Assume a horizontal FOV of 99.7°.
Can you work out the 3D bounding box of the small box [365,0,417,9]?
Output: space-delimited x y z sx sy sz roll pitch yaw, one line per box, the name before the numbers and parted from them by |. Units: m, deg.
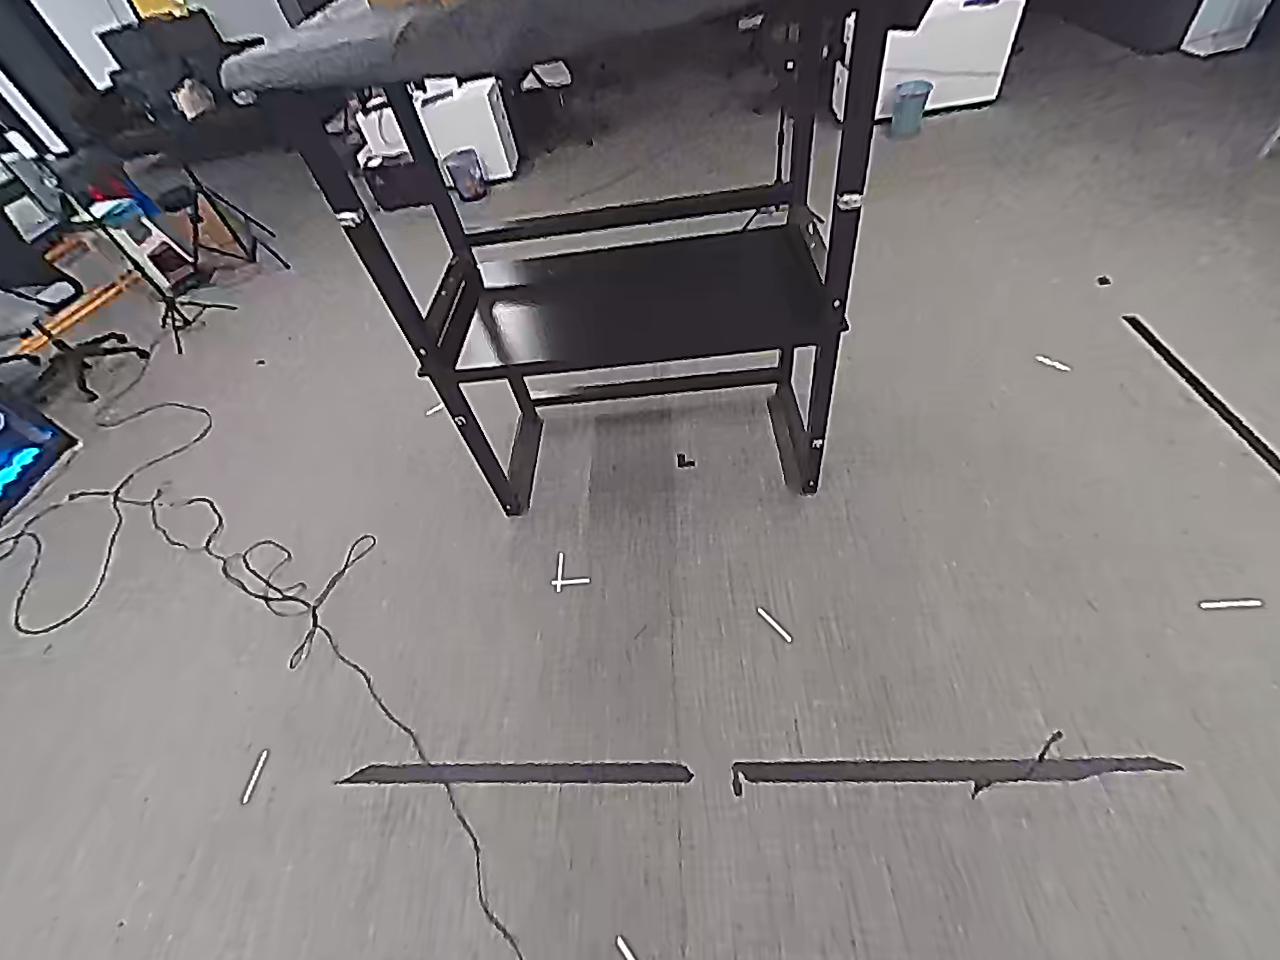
small box | -0.538 -1.174 1.191 0.179 0.176 0.168 -6 50 4
